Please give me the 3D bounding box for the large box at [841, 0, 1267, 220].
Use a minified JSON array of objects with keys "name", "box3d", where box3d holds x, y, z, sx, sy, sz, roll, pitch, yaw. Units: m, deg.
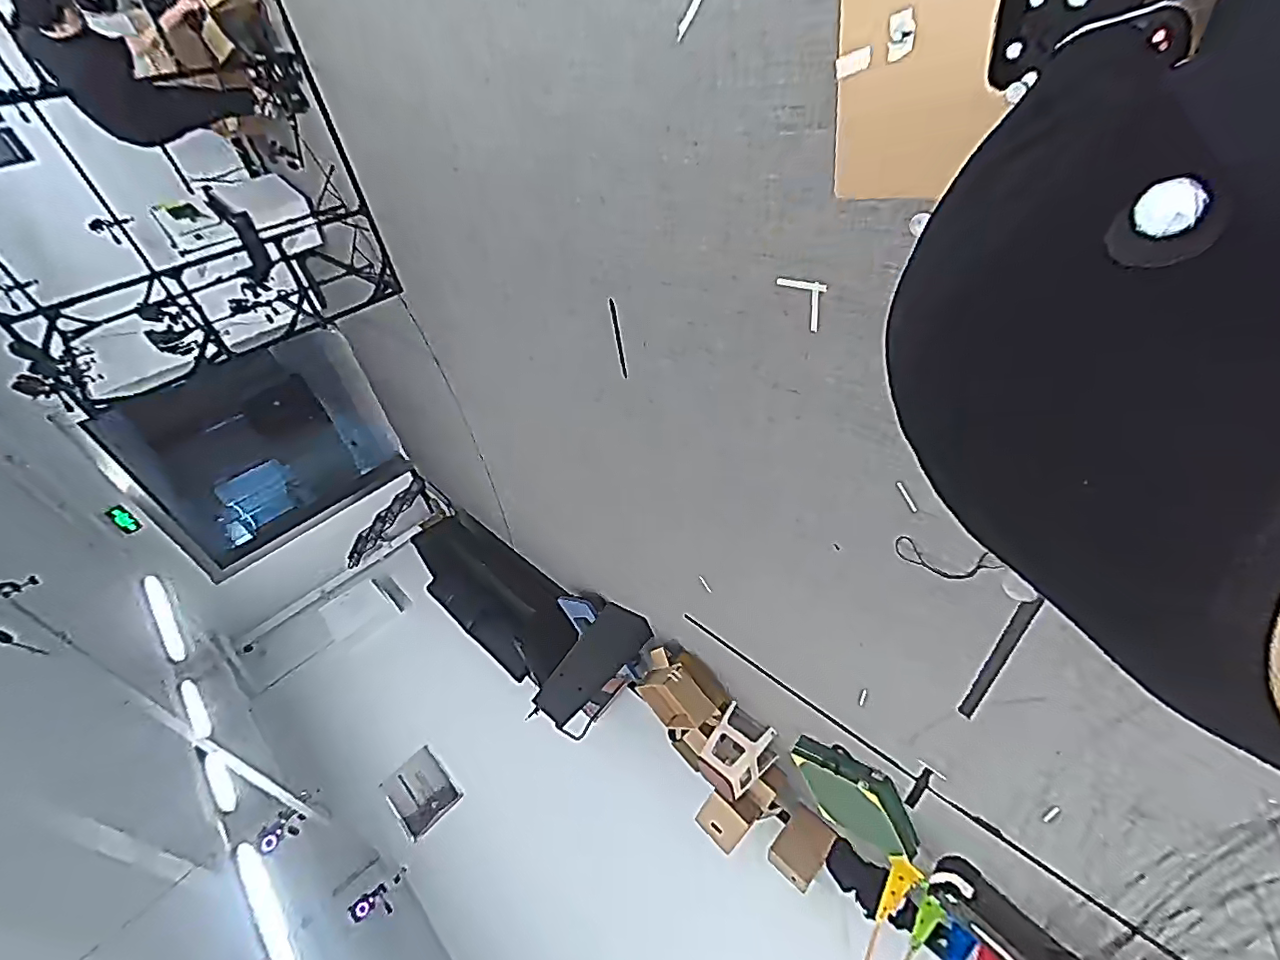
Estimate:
[{"name":"large box","box3d":[0.513,-0.552,0.691,0.320,0.408,0.320,35,145,45]}]
